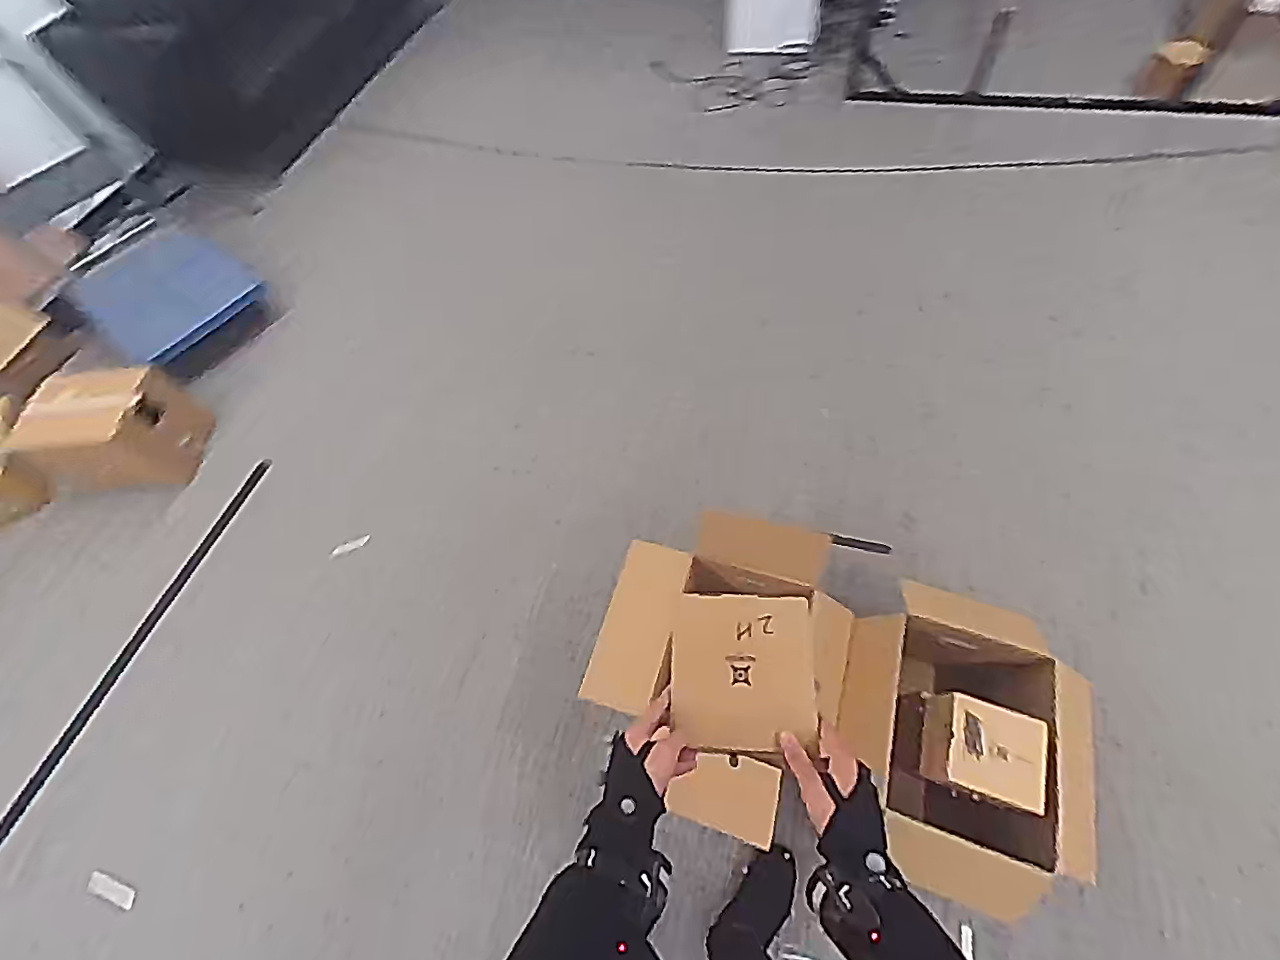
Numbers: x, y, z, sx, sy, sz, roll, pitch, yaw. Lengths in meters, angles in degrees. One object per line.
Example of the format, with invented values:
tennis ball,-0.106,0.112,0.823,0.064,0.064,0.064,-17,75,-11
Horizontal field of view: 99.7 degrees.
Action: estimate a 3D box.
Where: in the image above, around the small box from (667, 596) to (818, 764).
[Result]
small box,0.124,0.260,0.692,0.168,0.176,0.179,1,62,6
